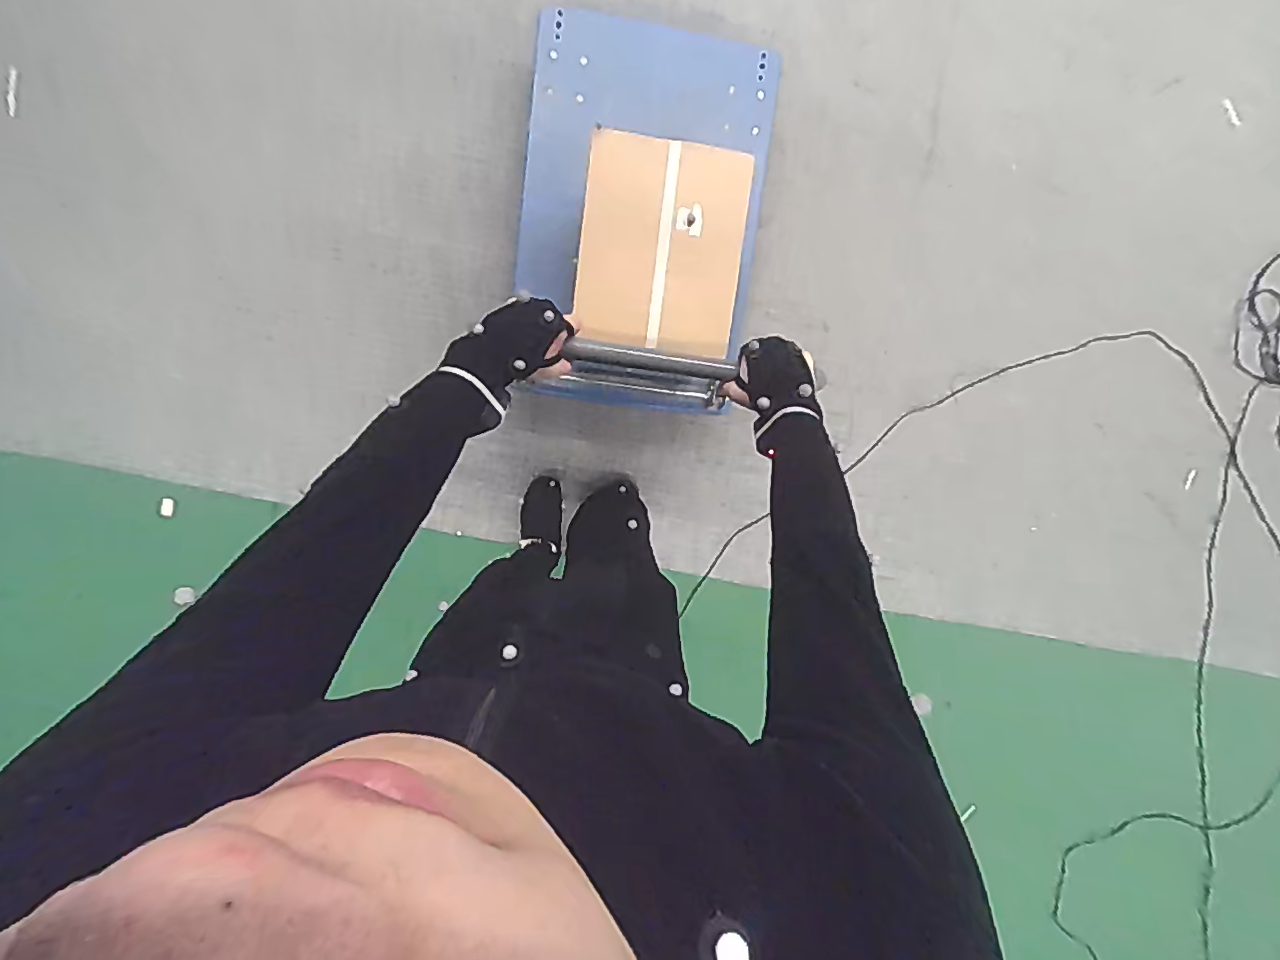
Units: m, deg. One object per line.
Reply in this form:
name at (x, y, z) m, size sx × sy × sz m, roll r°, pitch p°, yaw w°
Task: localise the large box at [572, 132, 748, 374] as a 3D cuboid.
large box at (0.026, -0.457, 1.190) m, size 0.320 × 0.320 × 0.408 m, roll 6°, pitch 97°, yaw -7°
